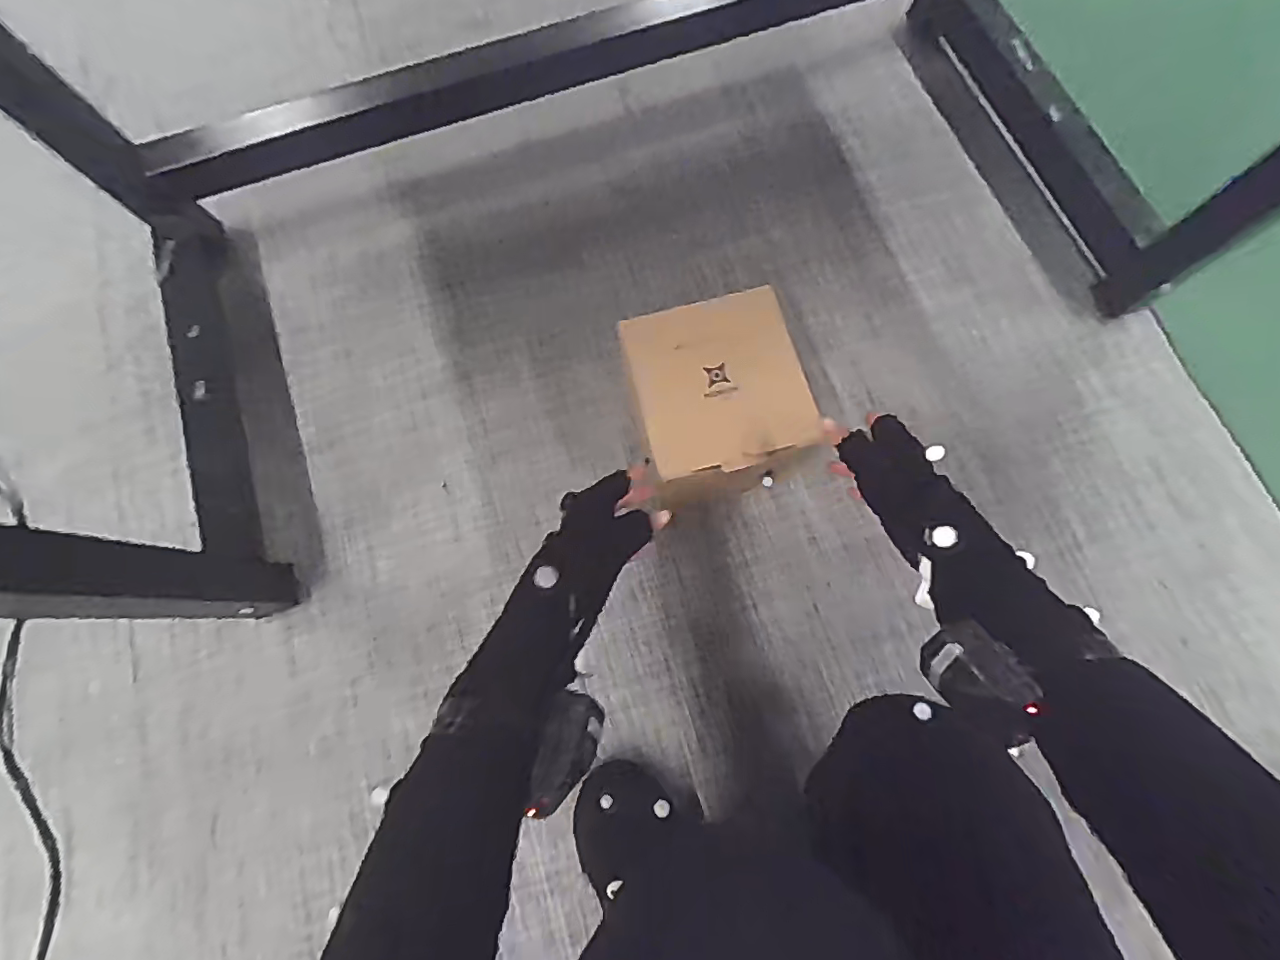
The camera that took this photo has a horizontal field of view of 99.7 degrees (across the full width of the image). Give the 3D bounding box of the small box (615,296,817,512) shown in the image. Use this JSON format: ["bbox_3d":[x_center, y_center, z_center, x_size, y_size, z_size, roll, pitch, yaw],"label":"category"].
[{"bbox_3d":[0.076,-0.070,0.613,0.168,0.176,0.179,-15,74,-2],"label":"small box"}]
